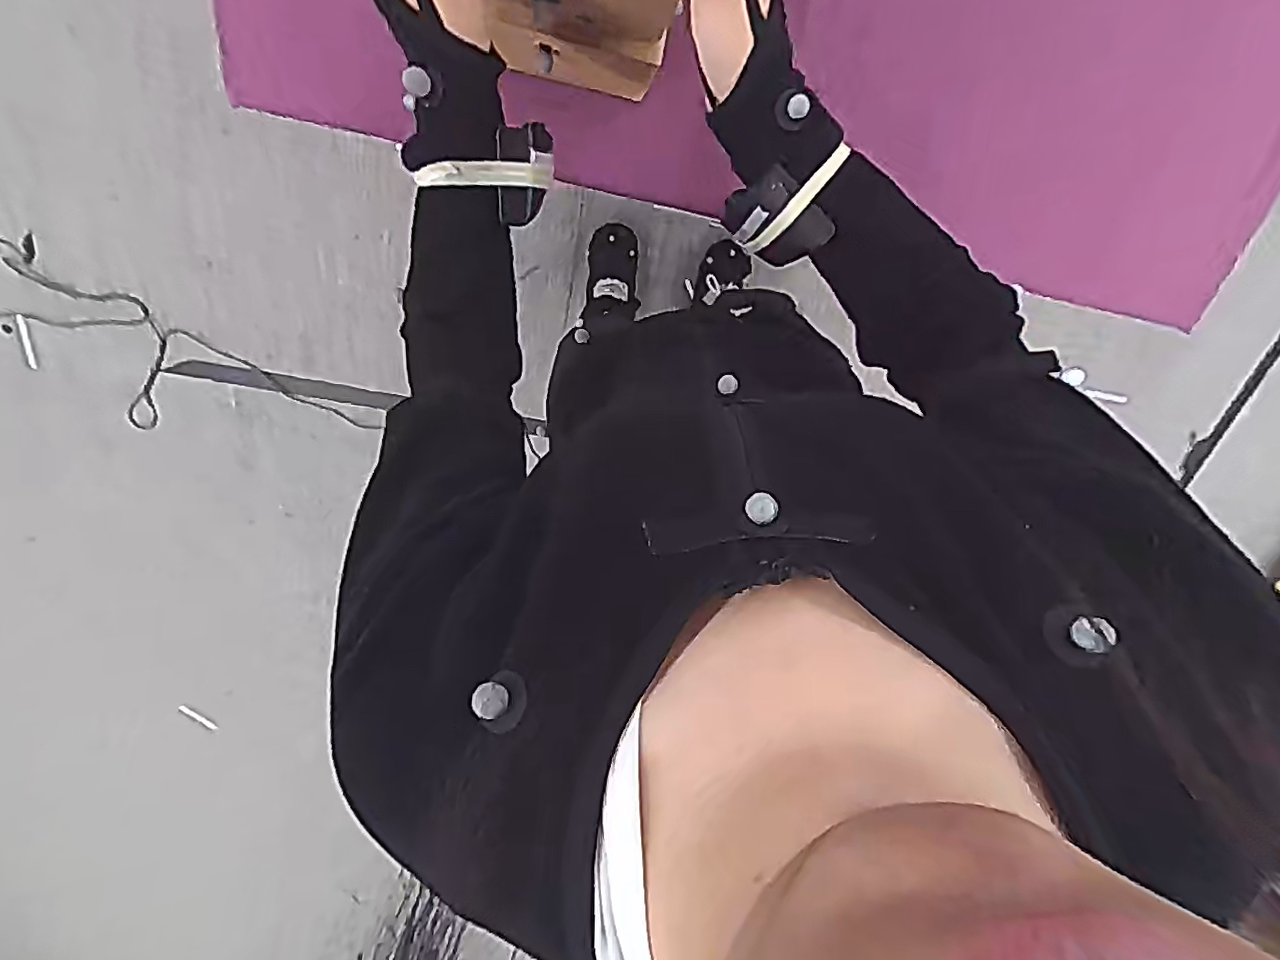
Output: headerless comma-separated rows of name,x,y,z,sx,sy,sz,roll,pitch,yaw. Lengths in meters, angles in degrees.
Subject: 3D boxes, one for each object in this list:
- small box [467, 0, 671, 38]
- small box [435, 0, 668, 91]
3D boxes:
small box,-0.047,-0.394,0.306,0.168,0.176,0.179,6,117,-8
small box,-0.061,-0.455,0.459,0.179,0.176,0.168,8,116,-9
